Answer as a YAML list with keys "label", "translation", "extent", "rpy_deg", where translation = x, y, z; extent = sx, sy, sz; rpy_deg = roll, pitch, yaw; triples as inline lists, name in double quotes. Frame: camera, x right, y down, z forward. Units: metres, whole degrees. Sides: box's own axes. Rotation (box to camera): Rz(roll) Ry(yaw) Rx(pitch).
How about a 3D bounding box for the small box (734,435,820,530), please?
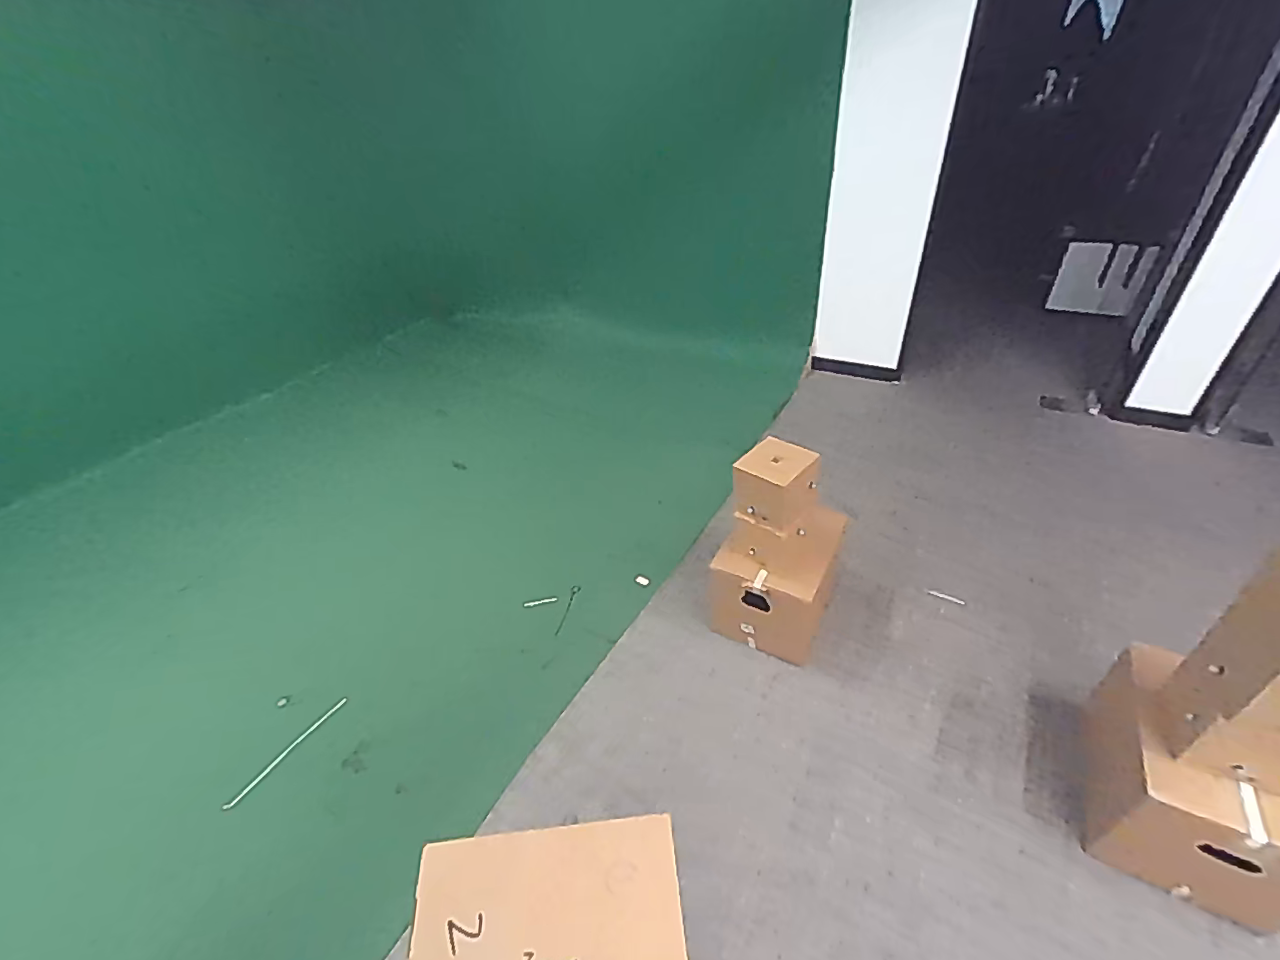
- label: "small box"
  translation: [0.377, 0.005, 1.502]
  extent: [0.179, 0.176, 0.168]
  rpy_deg: [-36, 44, -30]

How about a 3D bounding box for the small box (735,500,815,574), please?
- label: "small box"
  translation: [0.394, 0.140, 1.593]
  extent: [0.168, 0.176, 0.179]
  rpy_deg: [24, 48, 36]

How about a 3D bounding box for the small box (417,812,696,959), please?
- label: "small box"
  translation: [-0.049, 0.358, 0.390]
  extent: [0.179, 0.176, 0.168]
  rpy_deg: [-6, 47, -2]

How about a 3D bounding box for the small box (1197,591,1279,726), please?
- label: "small box"
  translation: [1.165, 0.332, 0.967]
  extent: [0.168, 0.176, 0.179]
  rpy_deg: [9, 42, 22]

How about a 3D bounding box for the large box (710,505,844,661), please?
- label: "large box"
  translation: [0.450, 0.304, 1.772]
  extent: [0.320, 0.320, 0.408]
  rpy_deg: [16, 43, 27]
